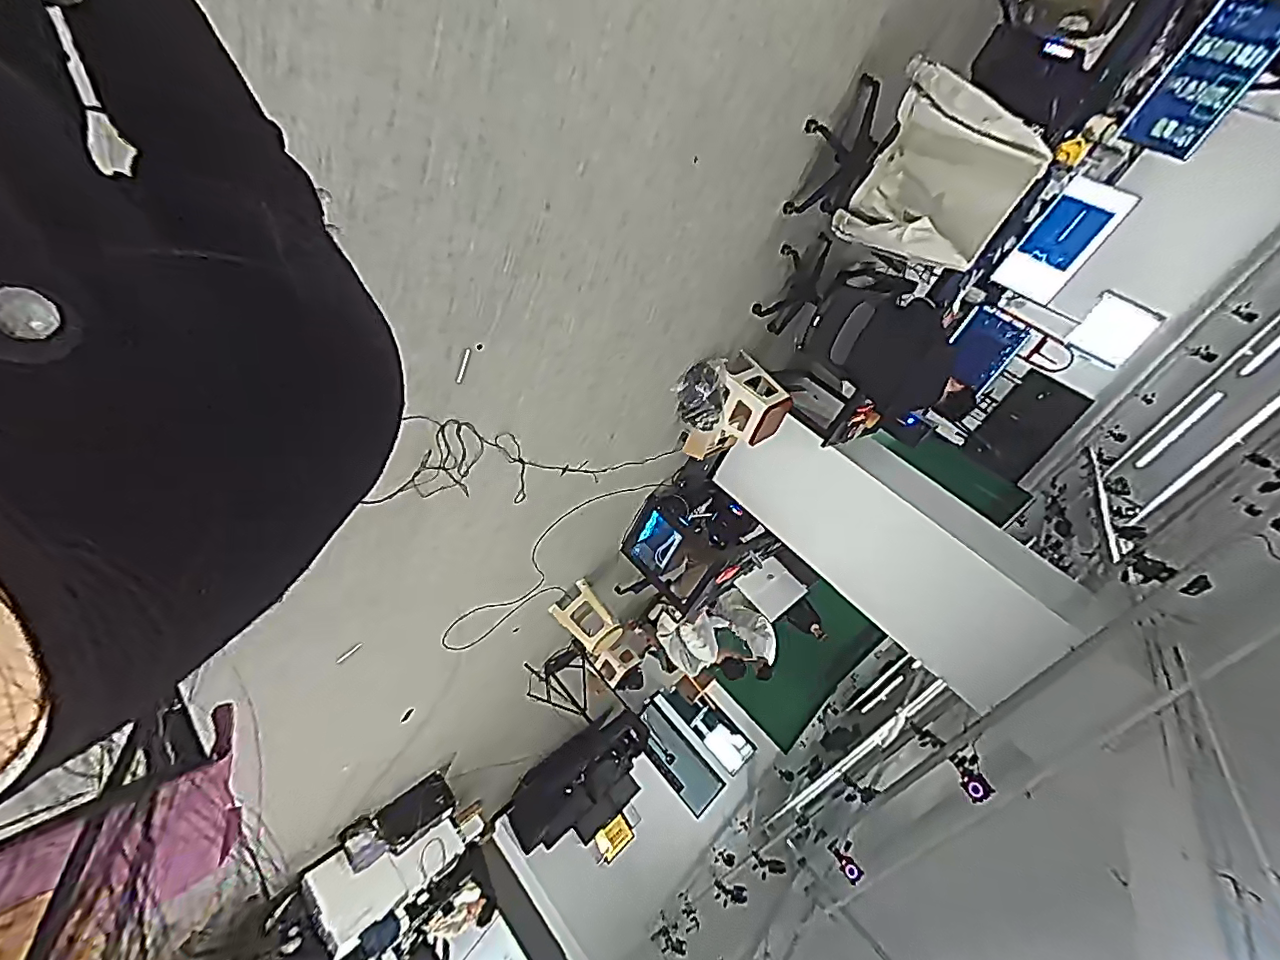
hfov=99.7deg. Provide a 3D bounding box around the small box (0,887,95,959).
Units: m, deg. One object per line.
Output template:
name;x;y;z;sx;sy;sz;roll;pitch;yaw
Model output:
small box;-1.228;0.971;1.083;0.168;0.176;0.179;-14;141;-52
